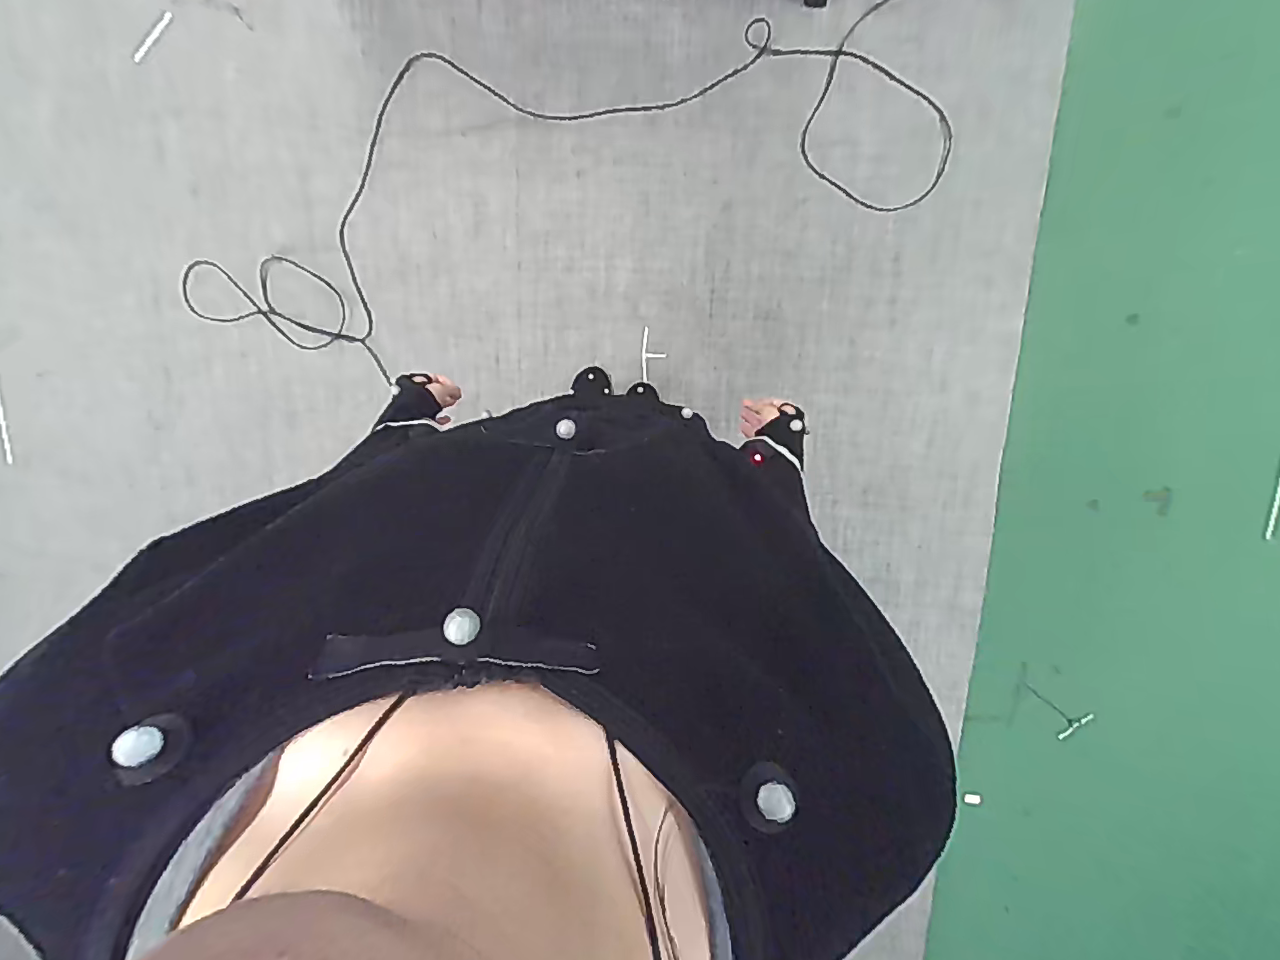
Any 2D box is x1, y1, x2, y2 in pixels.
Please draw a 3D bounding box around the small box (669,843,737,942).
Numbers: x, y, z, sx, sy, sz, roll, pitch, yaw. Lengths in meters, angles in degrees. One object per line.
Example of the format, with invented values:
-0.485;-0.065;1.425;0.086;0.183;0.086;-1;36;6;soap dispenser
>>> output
0.179;1.200;1.584;0.179;0.176;0.168;0;100;-3;small box
